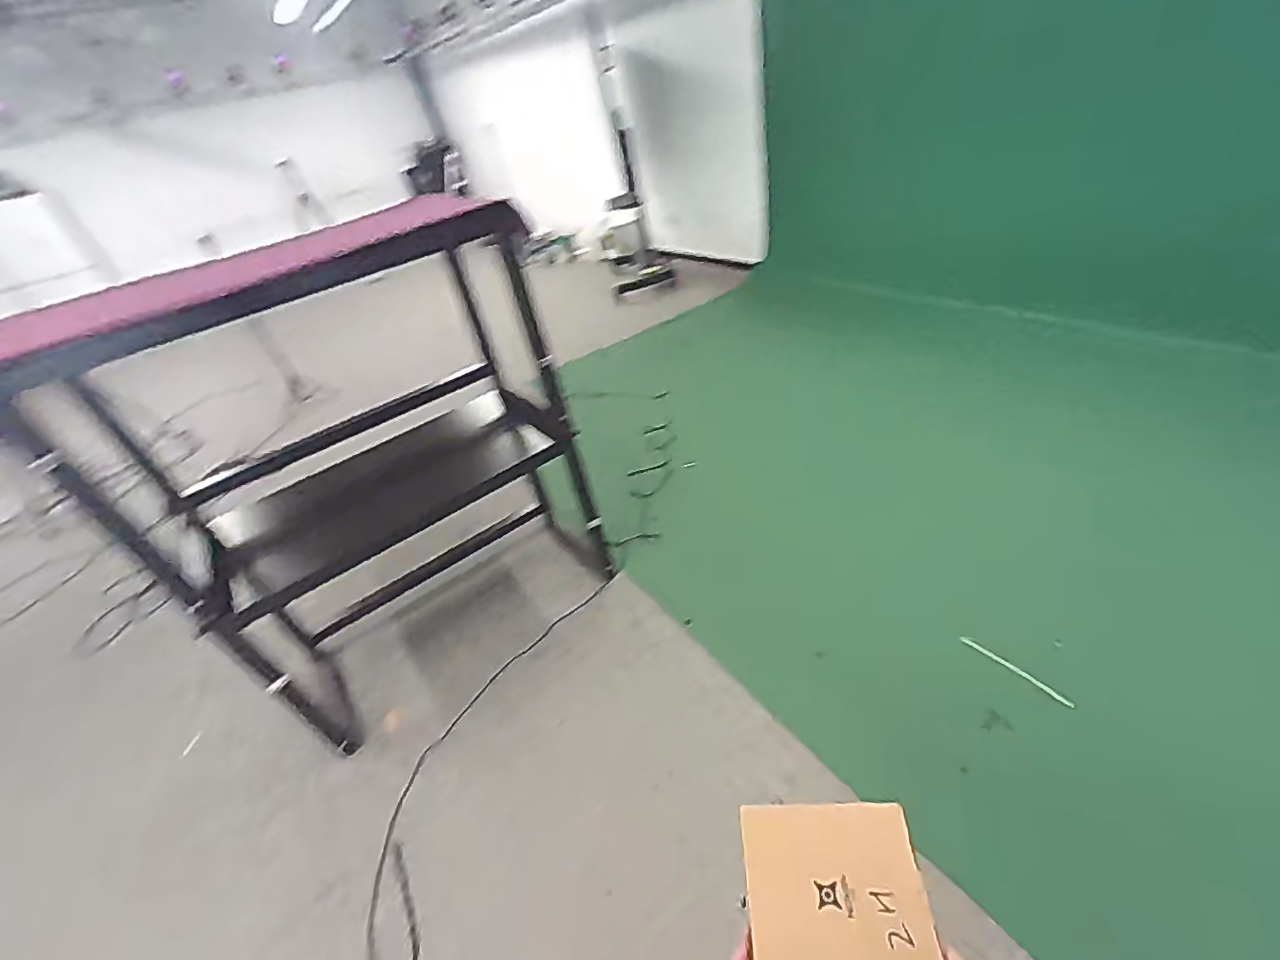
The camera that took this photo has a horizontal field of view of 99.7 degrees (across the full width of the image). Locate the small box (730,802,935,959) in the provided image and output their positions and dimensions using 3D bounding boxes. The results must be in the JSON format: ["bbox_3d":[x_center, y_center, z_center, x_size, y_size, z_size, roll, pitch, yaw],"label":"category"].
[{"bbox_3d":[0.197,0.472,0.593,0.179,0.176,0.168,-5,44,5],"label":"small box"}]
